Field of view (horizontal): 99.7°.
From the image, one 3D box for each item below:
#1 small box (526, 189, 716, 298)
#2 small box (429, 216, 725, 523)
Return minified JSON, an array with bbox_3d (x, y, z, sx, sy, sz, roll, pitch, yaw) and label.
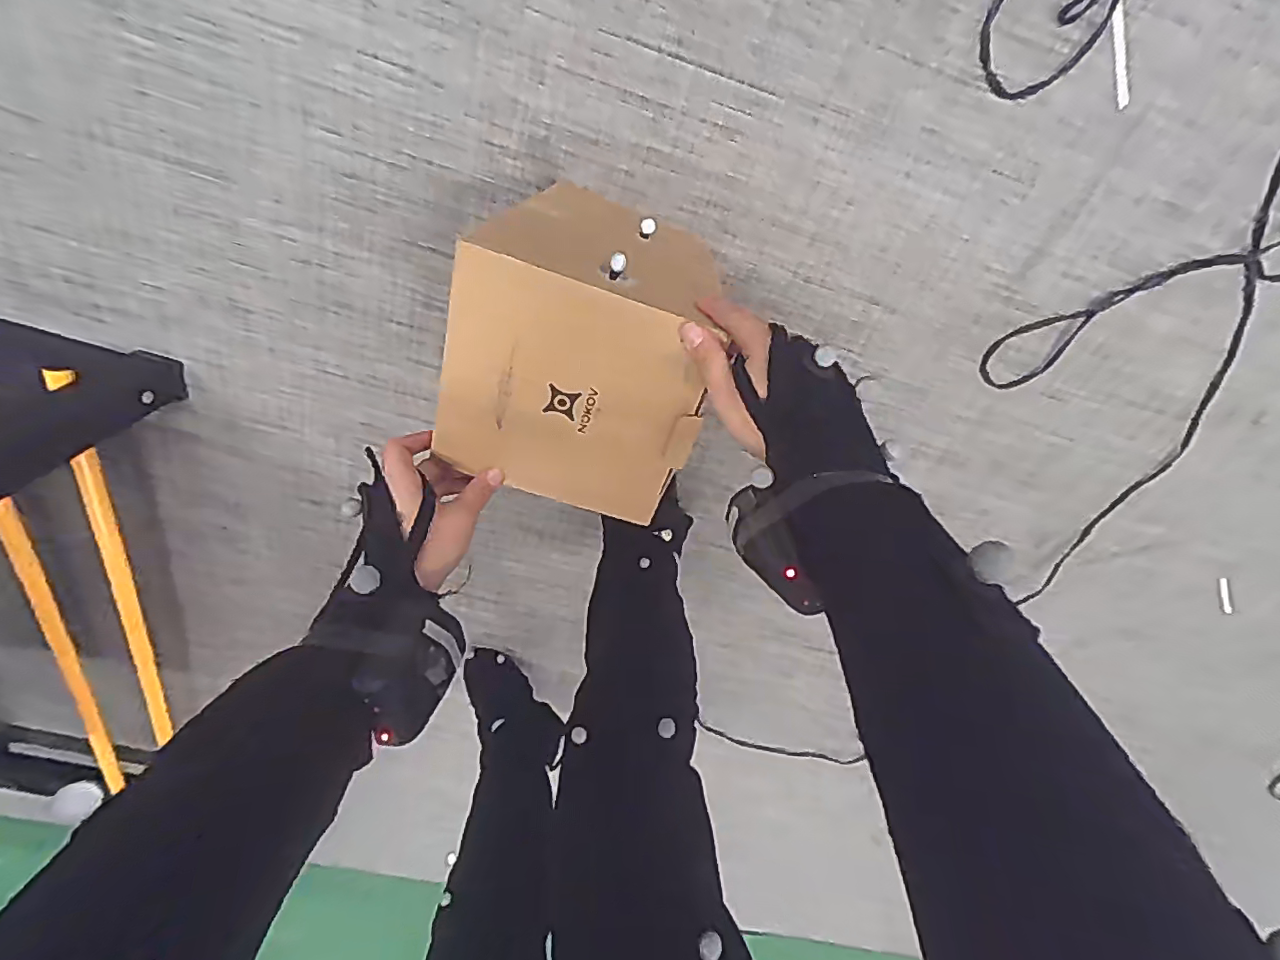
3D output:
[{"bbox_3d":[-0.038,-0.190,0.575,0.179,0.176,0.168,18,123,-10],"label":"small box"},{"bbox_3d":[-0.047,-0.097,0.440,0.179,0.176,0.168,17,122,-7],"label":"small box"}]
